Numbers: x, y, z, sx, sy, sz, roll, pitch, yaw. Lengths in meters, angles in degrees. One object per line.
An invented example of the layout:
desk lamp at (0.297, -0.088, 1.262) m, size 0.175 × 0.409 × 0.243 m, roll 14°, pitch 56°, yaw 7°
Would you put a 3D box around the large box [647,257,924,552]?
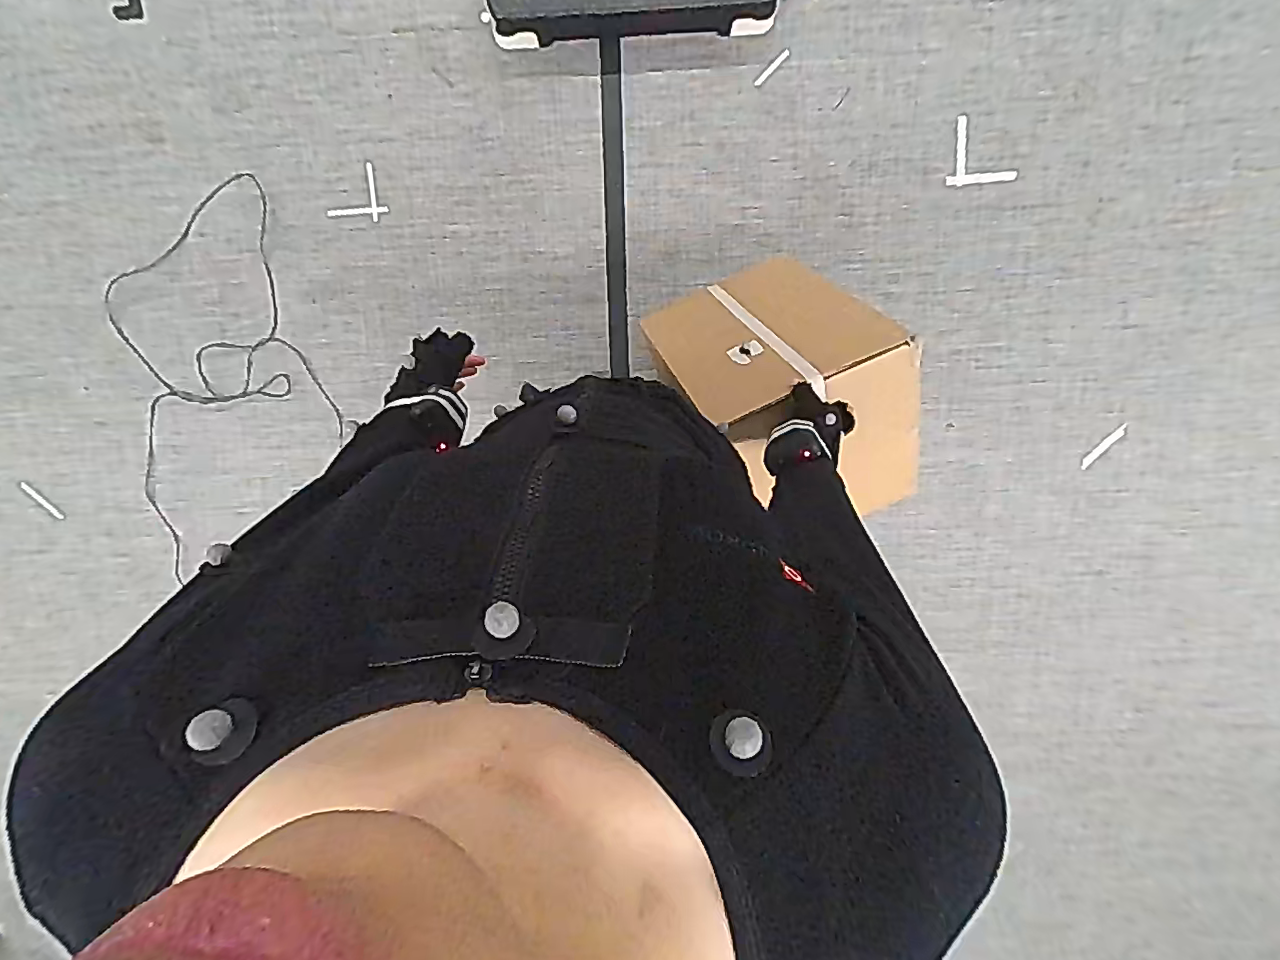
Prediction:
large box at (0.246, -0.150, 0.990) m, size 0.320 × 0.408 × 0.320 m, roll -24°, pitch 131°, yaw 1°
